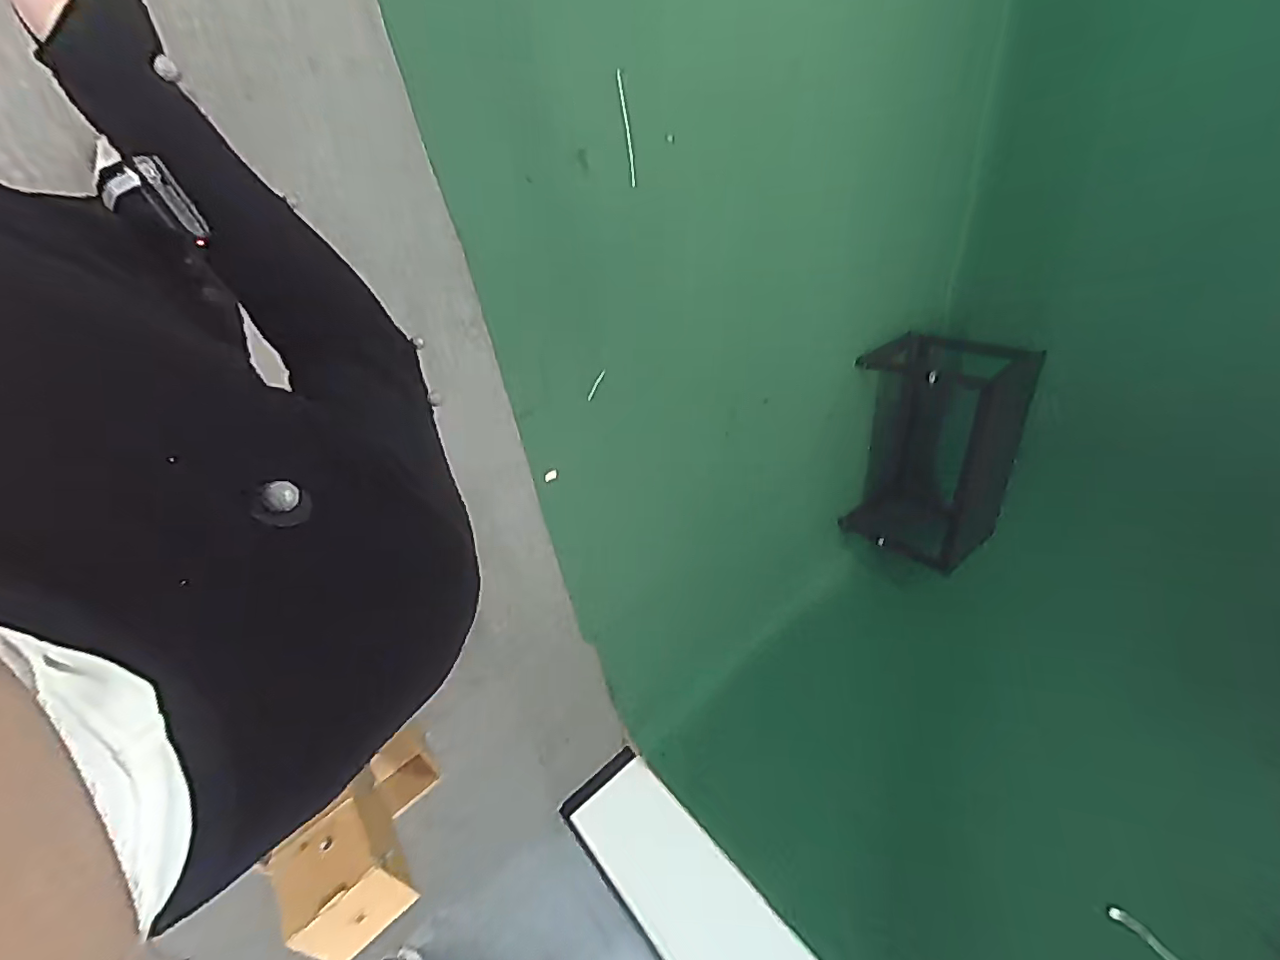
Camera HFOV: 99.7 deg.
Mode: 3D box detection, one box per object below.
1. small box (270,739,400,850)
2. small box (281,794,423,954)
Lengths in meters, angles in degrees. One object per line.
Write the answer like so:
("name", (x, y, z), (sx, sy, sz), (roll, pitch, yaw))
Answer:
("small box", (-0.659, 0.698, 1.167), (0.168, 0.176, 0.179), (-35, 134, -24))
("small box", (-0.559, 0.758, 1.053), (0.168, 0.176, 0.179), (-35, 132, -23))
